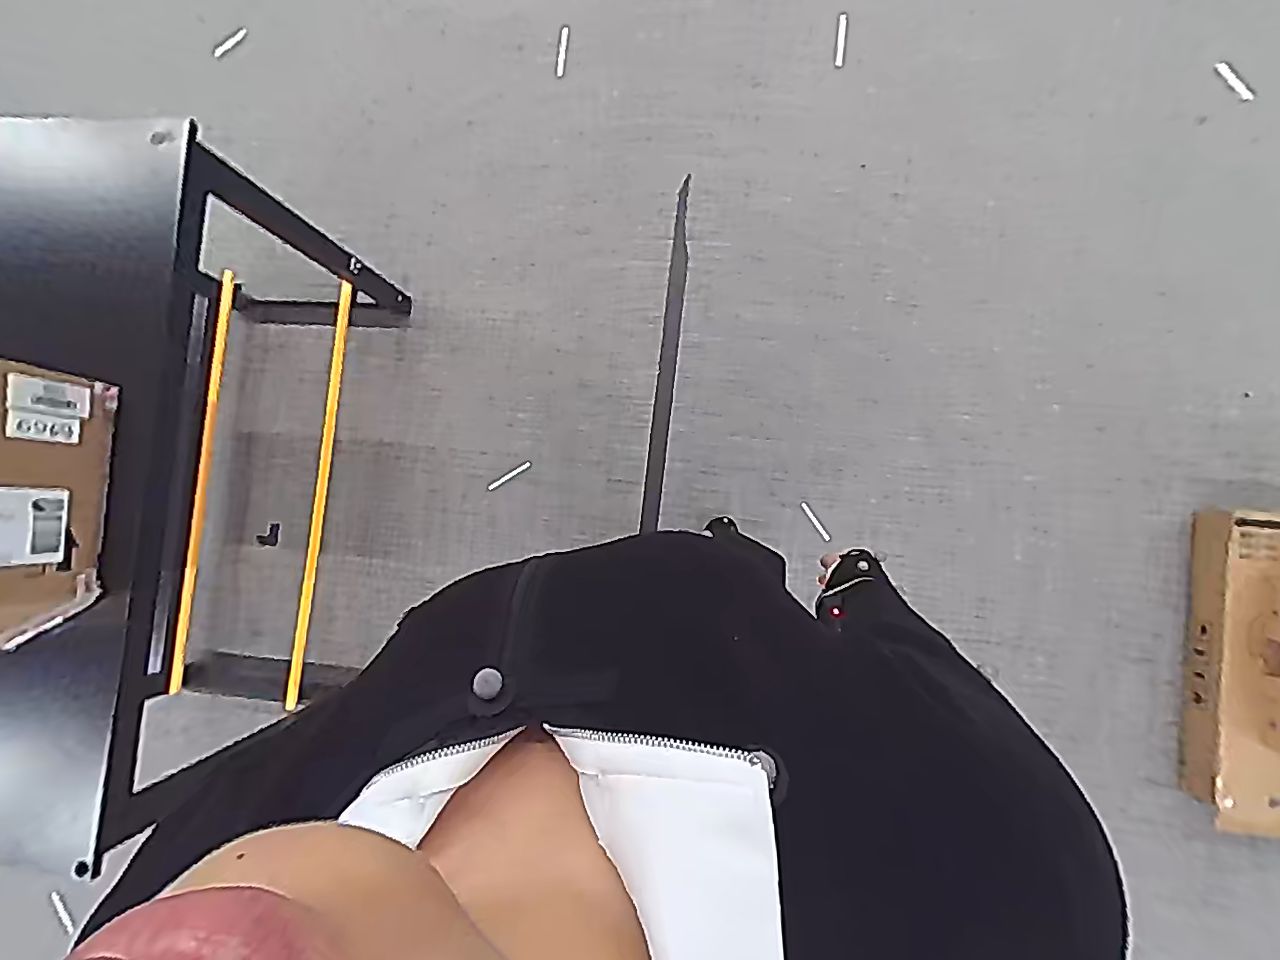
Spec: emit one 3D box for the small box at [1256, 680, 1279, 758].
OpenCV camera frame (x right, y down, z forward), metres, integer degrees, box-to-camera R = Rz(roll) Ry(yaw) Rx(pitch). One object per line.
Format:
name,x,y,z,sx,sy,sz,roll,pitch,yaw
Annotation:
small box,1.495,0.538,1.150,0.179,0.176,0.168,4,87,5
